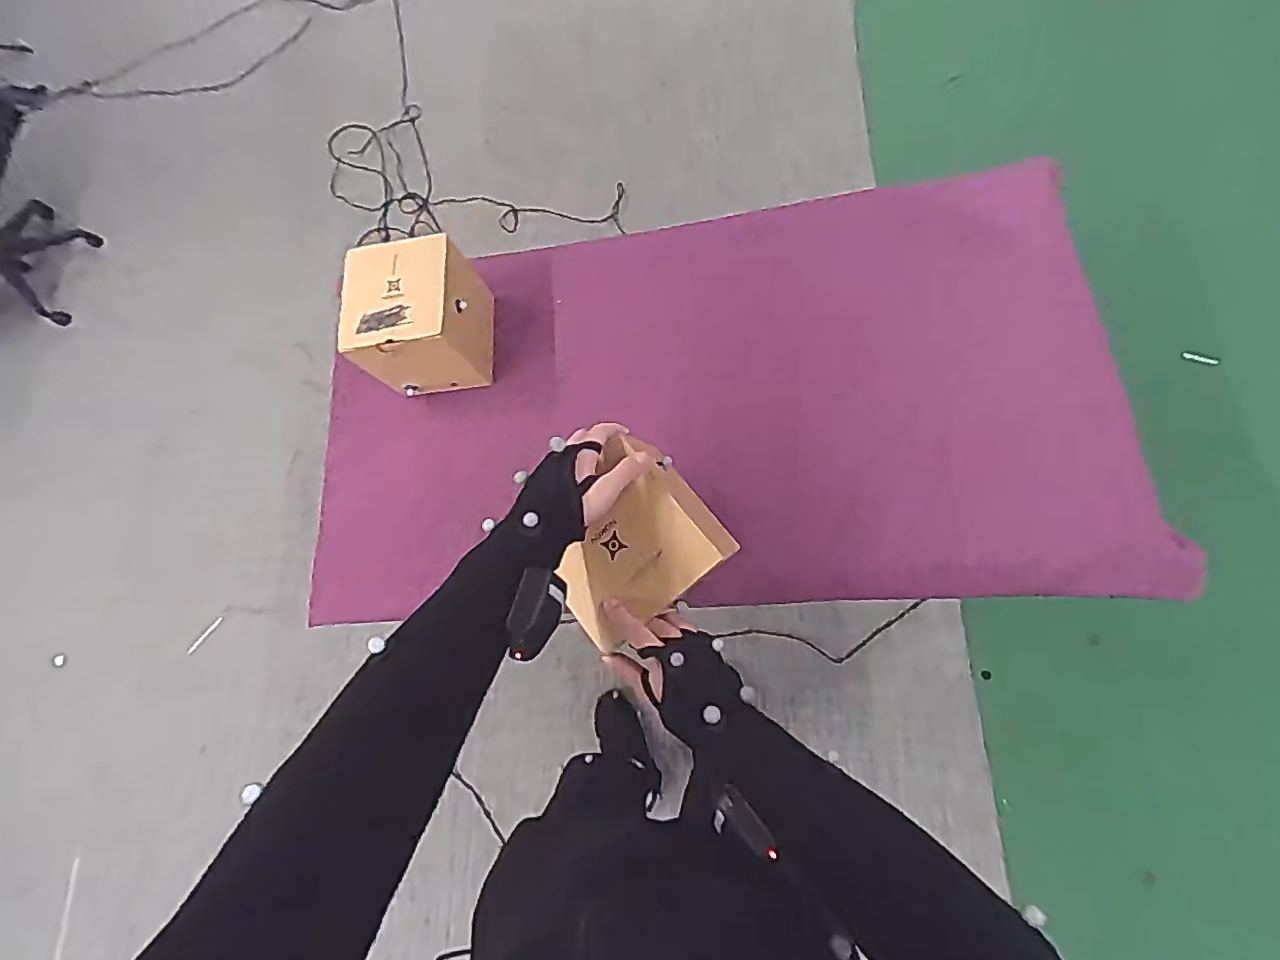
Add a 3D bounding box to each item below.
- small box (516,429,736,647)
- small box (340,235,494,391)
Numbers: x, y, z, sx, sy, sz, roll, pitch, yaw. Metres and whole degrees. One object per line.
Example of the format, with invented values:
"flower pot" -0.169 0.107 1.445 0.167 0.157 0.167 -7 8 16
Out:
"small box" -0.007 0.067 0.646 0.168 0.176 0.179 -40 76 12
"small box" -0.347 -0.254 0.872 0.168 0.176 0.179 -5 74 8
